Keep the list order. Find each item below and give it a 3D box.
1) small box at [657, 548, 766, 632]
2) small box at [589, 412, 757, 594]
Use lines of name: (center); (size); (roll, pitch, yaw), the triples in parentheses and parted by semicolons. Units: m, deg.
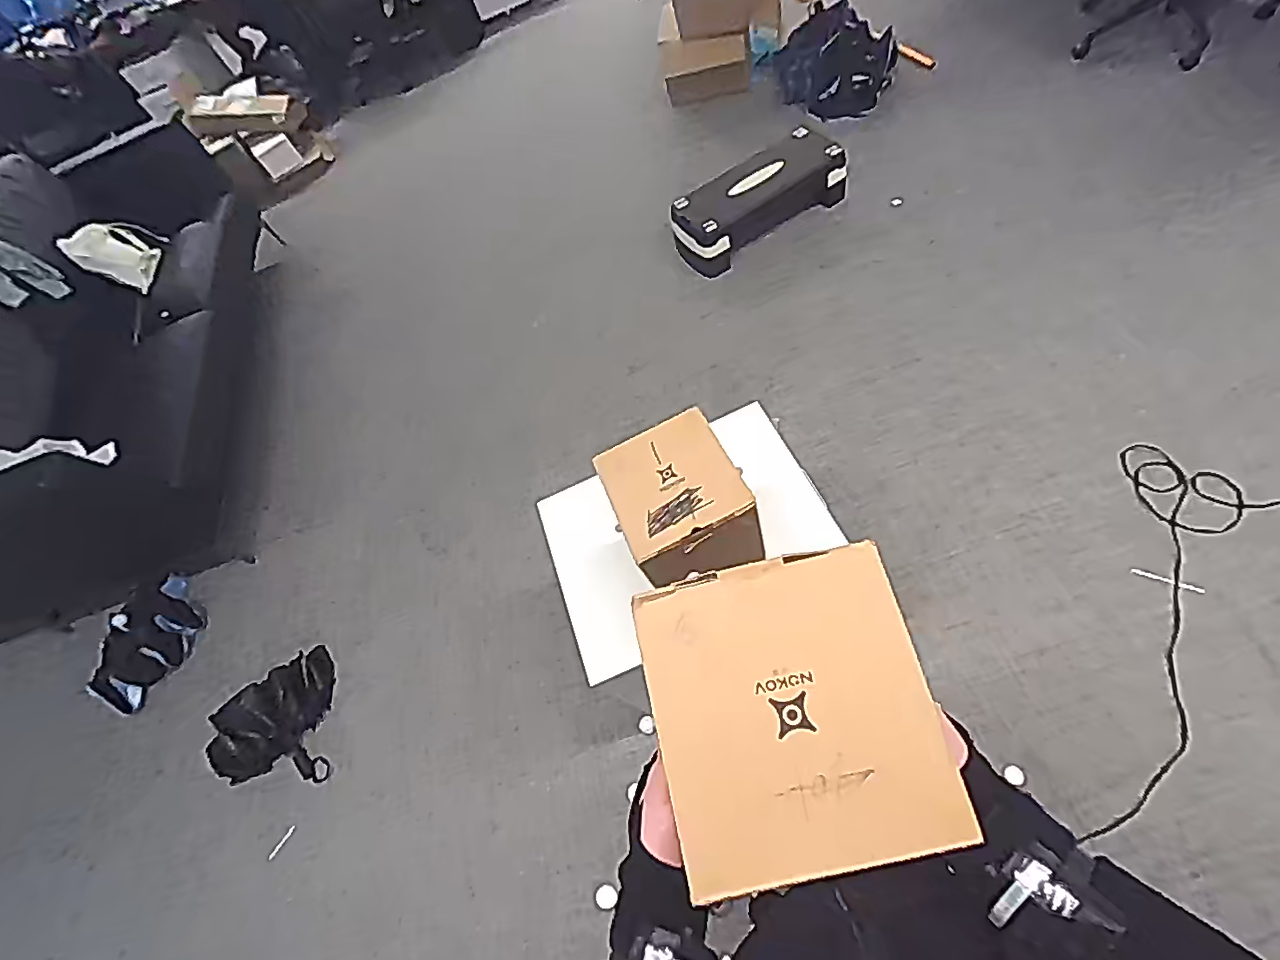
small box: (0.095, 0.125, 0.905); (0.168, 0.176, 0.179); (-28, 55, 0)
small box: (0.053, 0.044, 0.767); (0.168, 0.176, 0.179); (-27, 55, 0)
